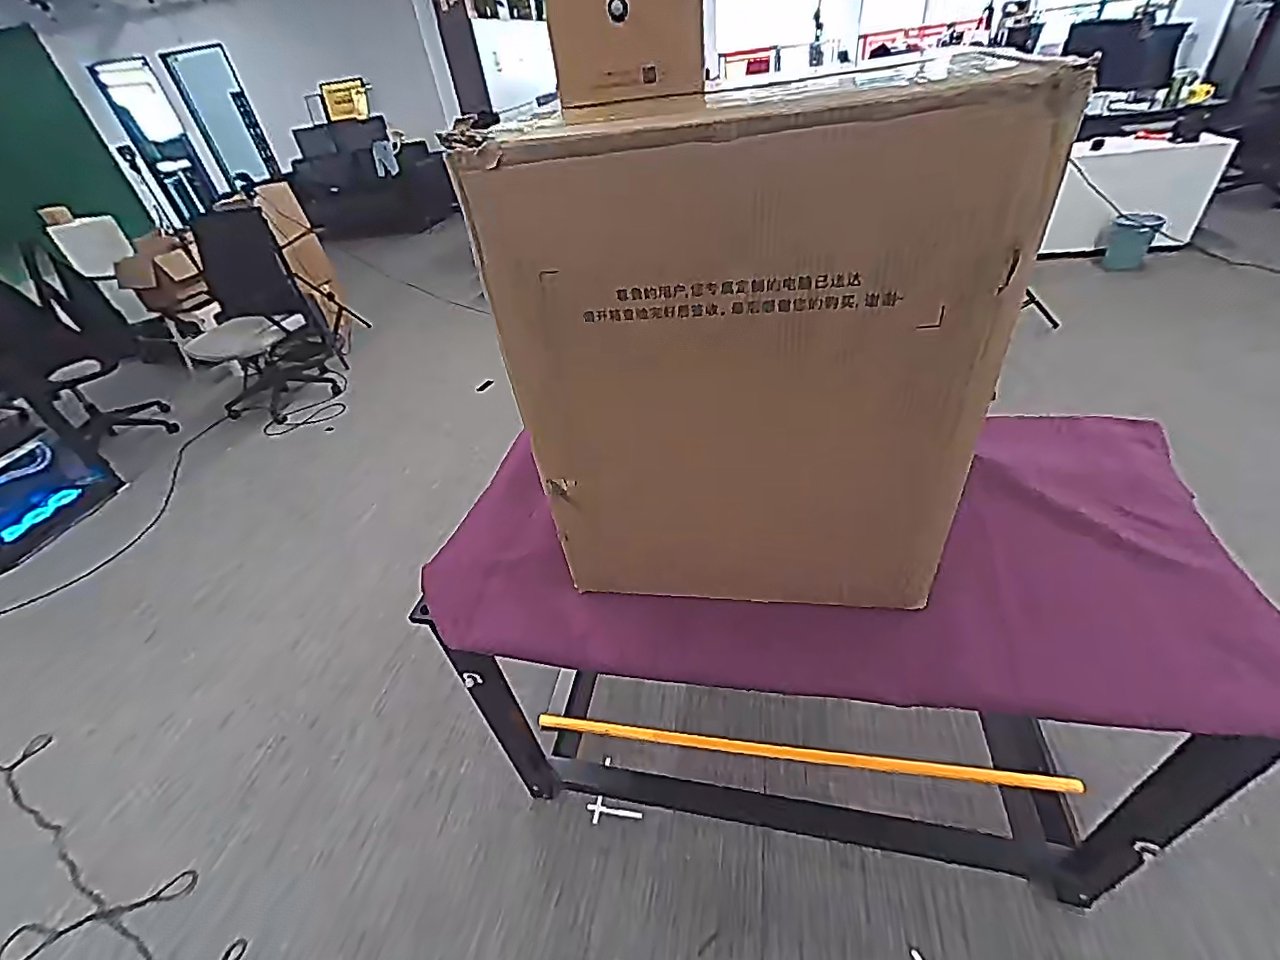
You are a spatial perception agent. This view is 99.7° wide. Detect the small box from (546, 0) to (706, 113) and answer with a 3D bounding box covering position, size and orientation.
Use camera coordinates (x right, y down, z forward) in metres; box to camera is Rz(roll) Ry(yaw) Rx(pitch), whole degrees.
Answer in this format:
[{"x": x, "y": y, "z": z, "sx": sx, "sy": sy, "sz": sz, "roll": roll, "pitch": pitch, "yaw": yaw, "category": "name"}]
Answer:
[{"x": -0.010, "y": -0.535, "z": 0.623, "sx": 0.168, "sy": 0.176, "sz": 0.179, "roll": -2, "pitch": 39, "yaw": 6, "category": "small box"}]
